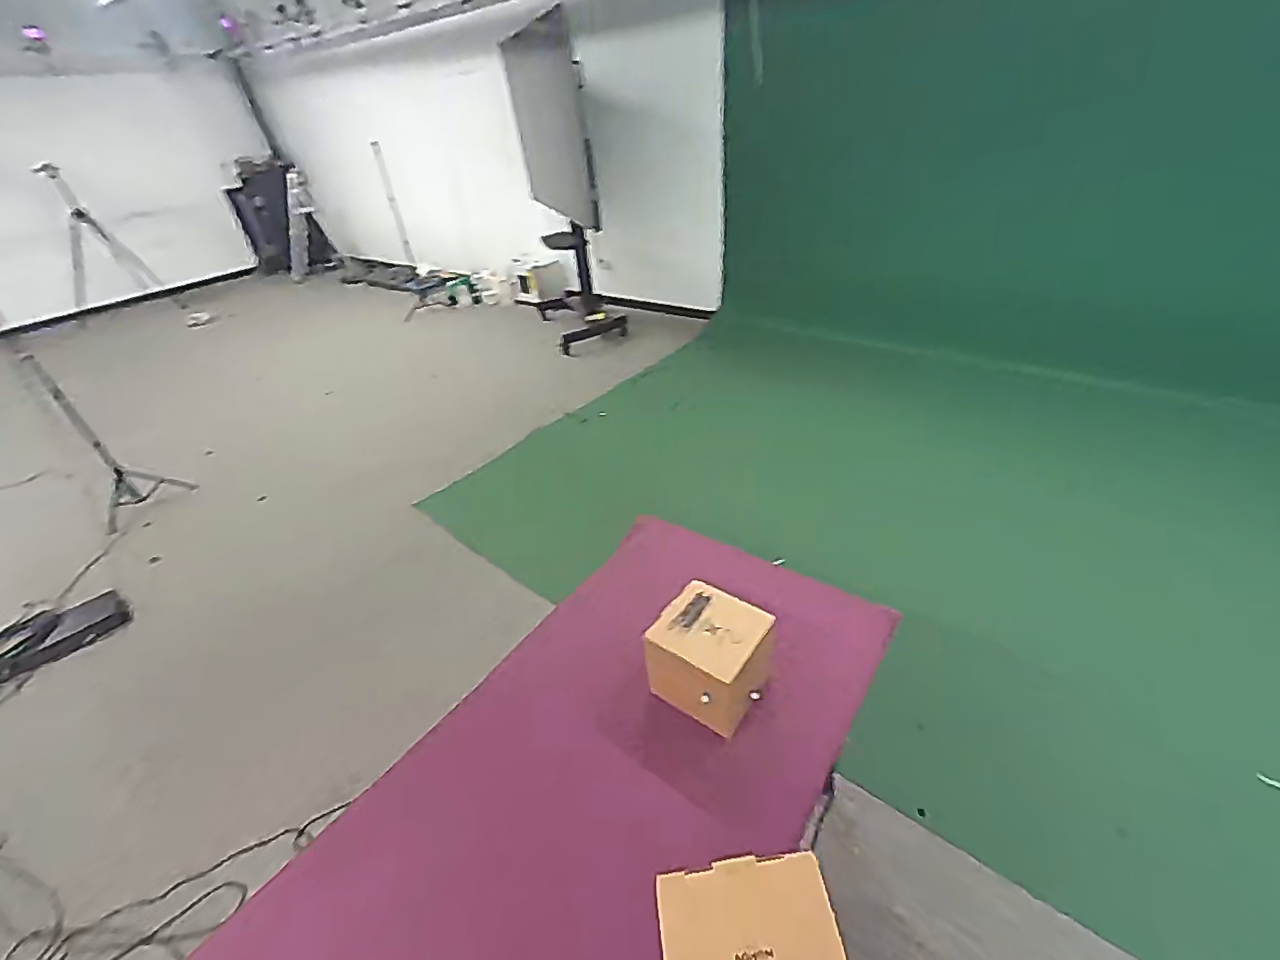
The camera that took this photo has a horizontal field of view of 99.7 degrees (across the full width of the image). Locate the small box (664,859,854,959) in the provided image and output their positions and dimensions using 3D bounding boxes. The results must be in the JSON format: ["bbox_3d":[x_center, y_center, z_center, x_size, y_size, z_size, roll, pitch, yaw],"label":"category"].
[{"bbox_3d":[0.117,0.499,0.520,0.168,0.176,0.179,-8,42,0],"label":"small box"}]
